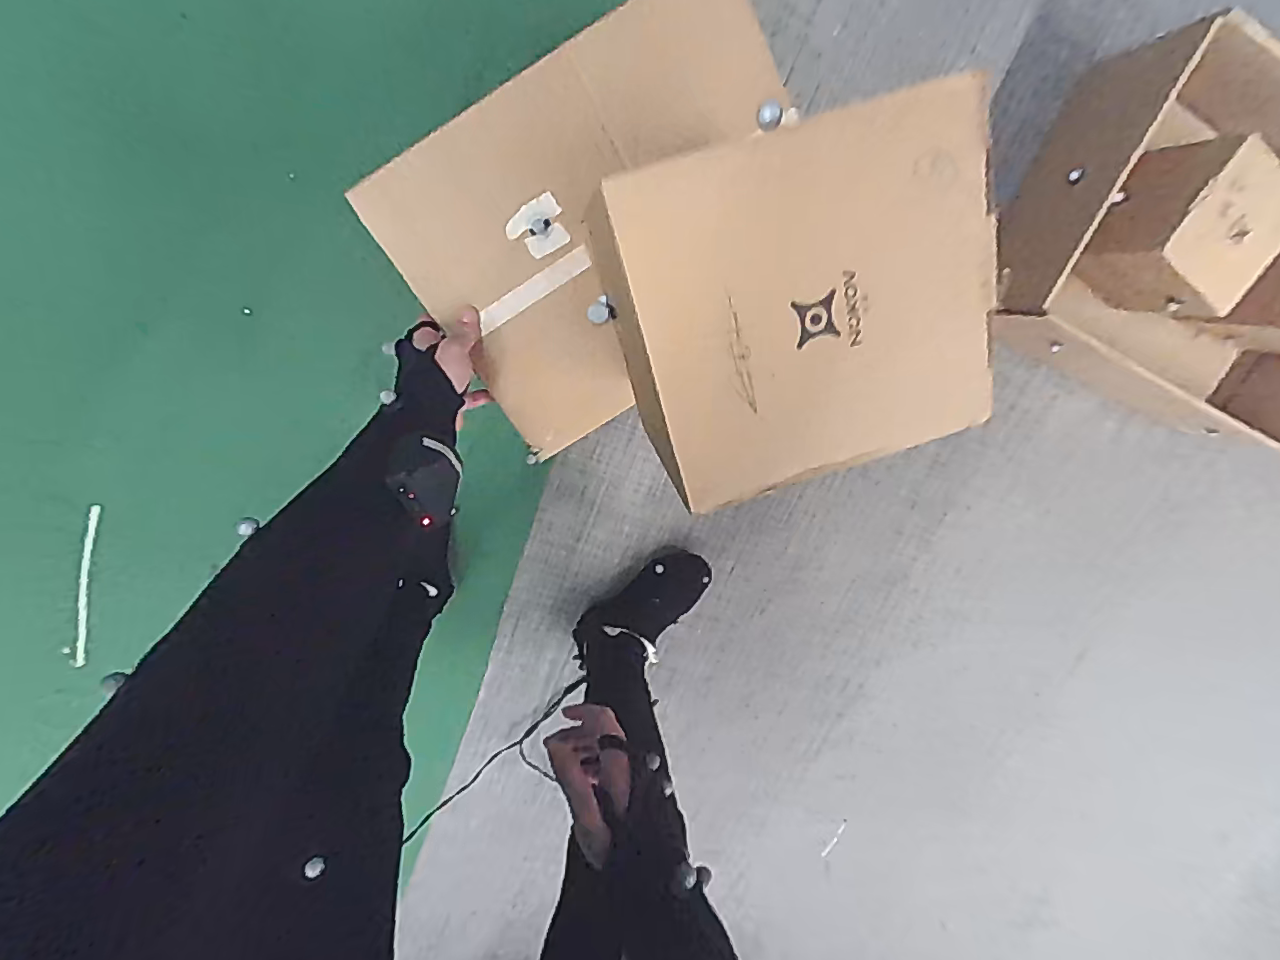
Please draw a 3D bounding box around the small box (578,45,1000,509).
[{"bbox_3d":[0.070,-0.111,0.319,0.179,0.176,0.168,-17,113,-1],"label":"small box"}]

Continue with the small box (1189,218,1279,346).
[{"bbox_3d":[1.045,-0.305,0.842,0.179,0.176,0.168,14,108,-13],"label":"small box"}]

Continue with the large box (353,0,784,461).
[{"bbox_3d":[-0.041,-0.296,0.670,0.408,0.320,0.320,-32,111,5],"label":"large box"}]
